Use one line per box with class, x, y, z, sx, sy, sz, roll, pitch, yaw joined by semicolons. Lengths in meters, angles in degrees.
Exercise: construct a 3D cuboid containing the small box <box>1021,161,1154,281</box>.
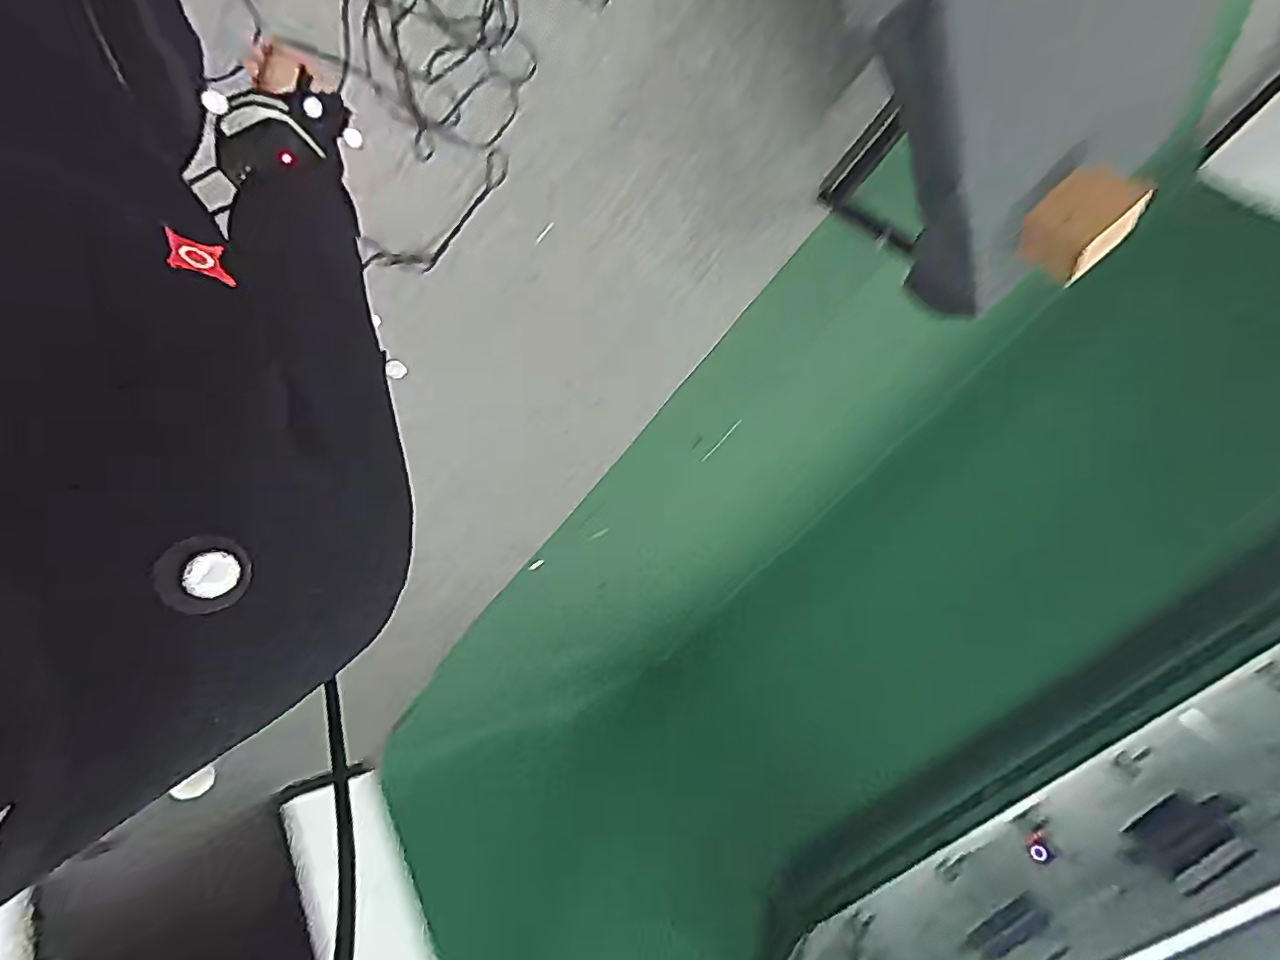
small box;1.108;-0.650;1.359;0.179;0.176;0.168;-44;152;8
